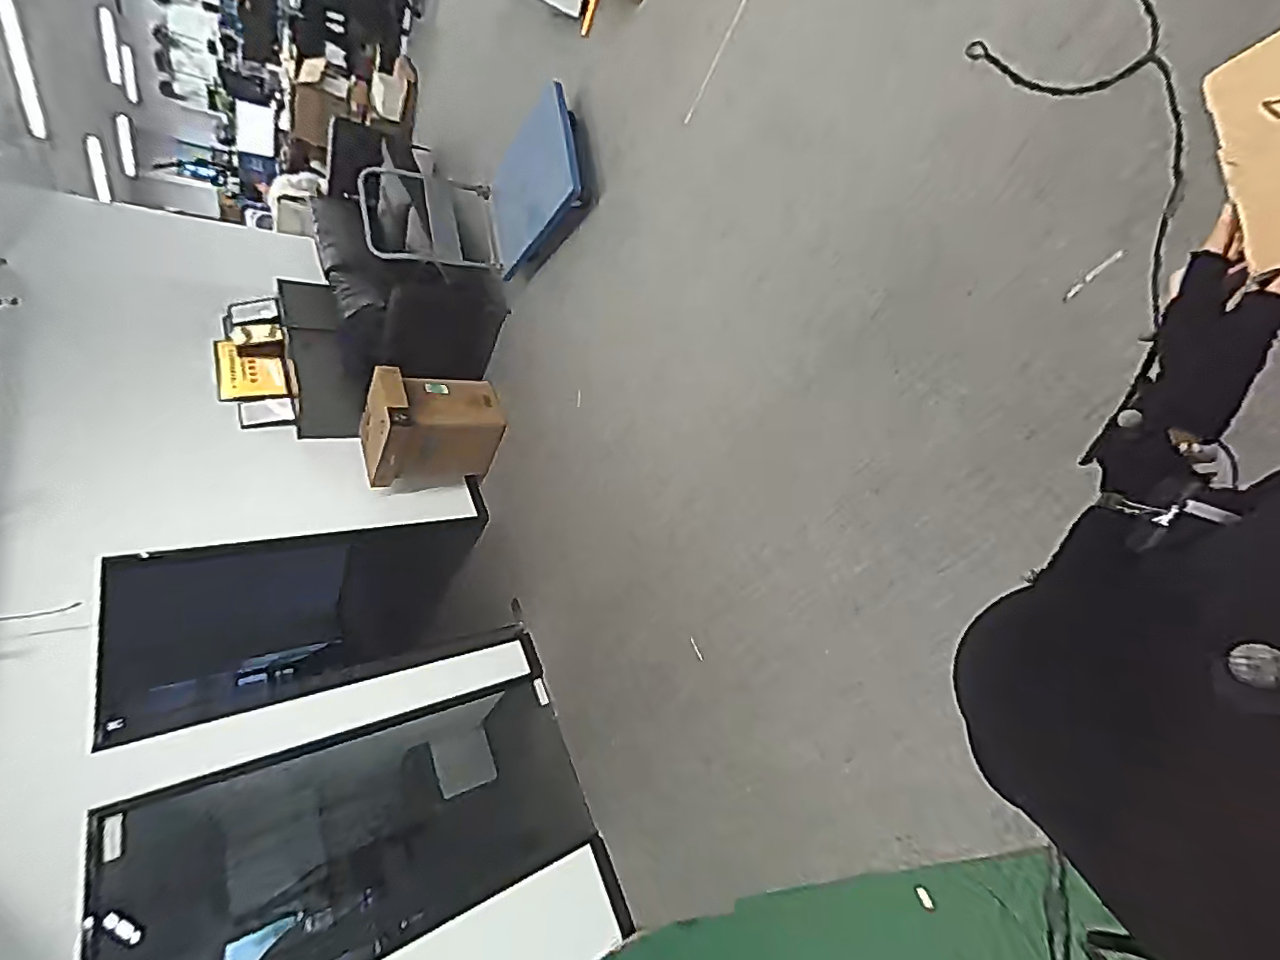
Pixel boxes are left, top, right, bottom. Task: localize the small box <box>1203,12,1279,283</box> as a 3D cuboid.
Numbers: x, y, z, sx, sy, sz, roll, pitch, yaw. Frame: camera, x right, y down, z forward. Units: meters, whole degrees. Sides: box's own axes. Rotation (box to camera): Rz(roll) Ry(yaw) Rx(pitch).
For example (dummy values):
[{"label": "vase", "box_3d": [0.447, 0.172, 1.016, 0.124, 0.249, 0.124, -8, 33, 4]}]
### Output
[{"label": "small box", "box_3d": [0.526, -0.236, 0.348, 0.179, 0.176, 0.168, -20, 67, 59]}]
